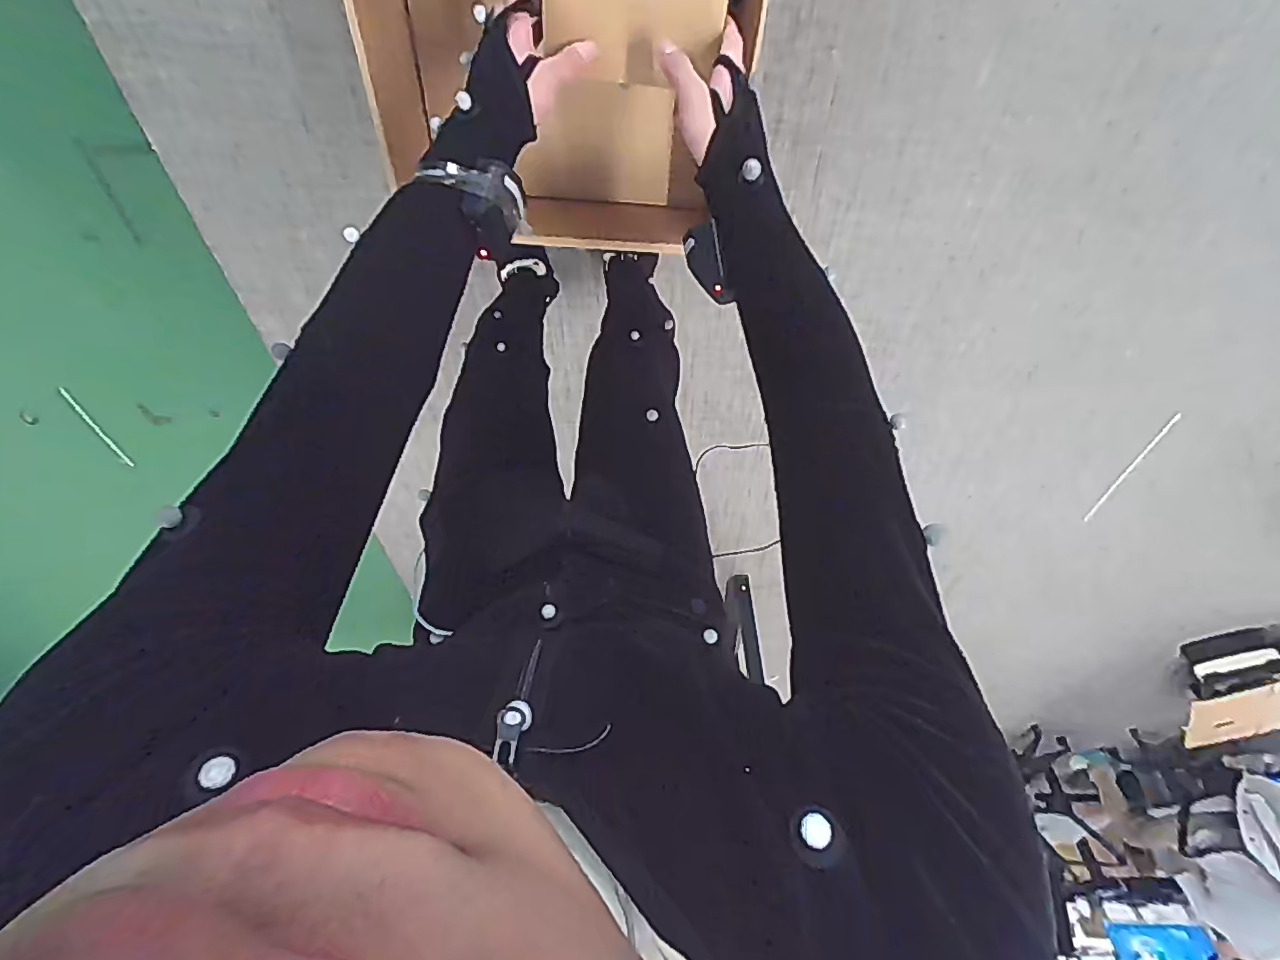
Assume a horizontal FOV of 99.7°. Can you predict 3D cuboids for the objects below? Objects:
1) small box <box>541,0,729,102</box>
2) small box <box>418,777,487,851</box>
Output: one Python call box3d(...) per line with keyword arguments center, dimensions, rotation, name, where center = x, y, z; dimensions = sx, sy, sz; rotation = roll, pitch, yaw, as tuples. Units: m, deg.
box3d(center=(-0.001, -0.489, 0.511), dimensions=(0.168, 0.176, 0.179), rotation=(4, 134, -6), name="small box")
box3d(center=(-0.572, 1.022, 1.656), dimensions=(0.168, 0.176, 0.179), rotation=(12, 137, -14), name="small box")
